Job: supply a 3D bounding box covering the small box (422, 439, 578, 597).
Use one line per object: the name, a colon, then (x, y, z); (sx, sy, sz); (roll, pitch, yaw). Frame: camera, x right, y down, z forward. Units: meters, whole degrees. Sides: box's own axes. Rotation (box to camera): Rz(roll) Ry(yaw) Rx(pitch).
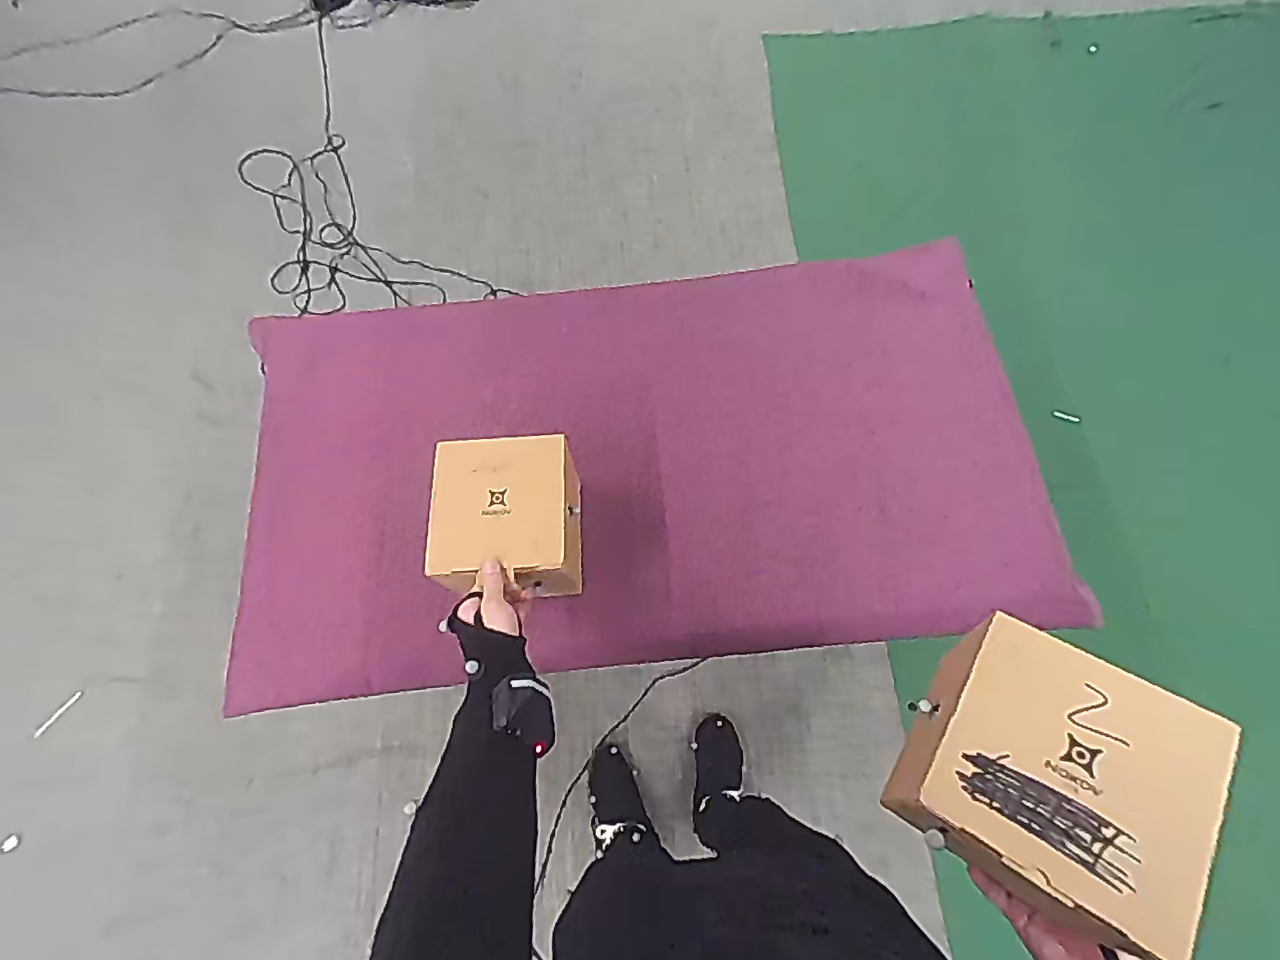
small box: (-0.176, 0.060, 0.738); (0.168, 0.176, 0.179); (-3, 67, 0)
